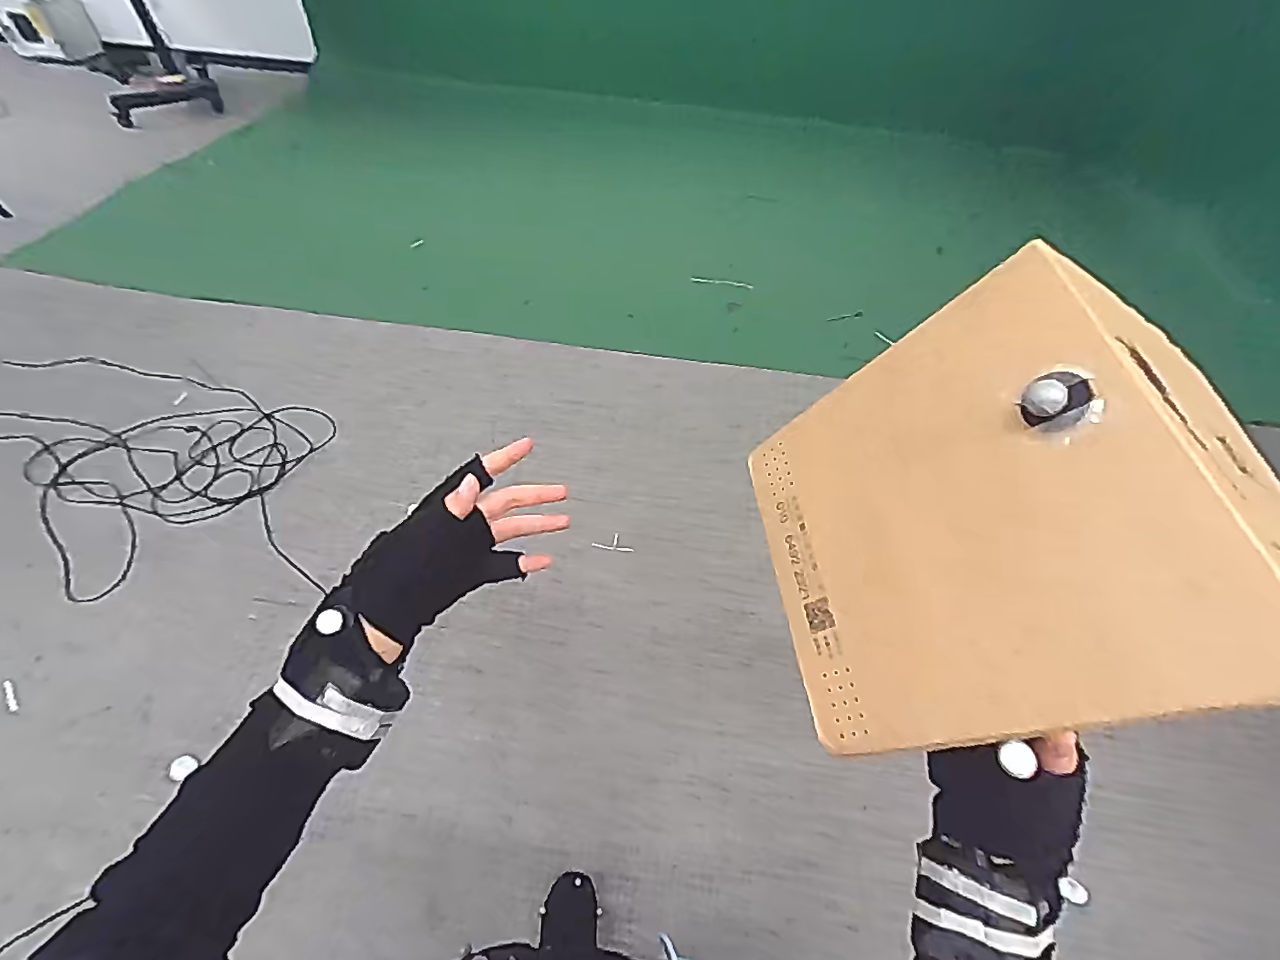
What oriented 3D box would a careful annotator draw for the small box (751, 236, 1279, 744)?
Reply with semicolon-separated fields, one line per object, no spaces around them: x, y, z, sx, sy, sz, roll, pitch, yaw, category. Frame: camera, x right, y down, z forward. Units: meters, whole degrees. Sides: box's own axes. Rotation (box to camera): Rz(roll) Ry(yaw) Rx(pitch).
0.185;0.028;0.269;0.179;0.176;0.168;12;55;-32;small box
